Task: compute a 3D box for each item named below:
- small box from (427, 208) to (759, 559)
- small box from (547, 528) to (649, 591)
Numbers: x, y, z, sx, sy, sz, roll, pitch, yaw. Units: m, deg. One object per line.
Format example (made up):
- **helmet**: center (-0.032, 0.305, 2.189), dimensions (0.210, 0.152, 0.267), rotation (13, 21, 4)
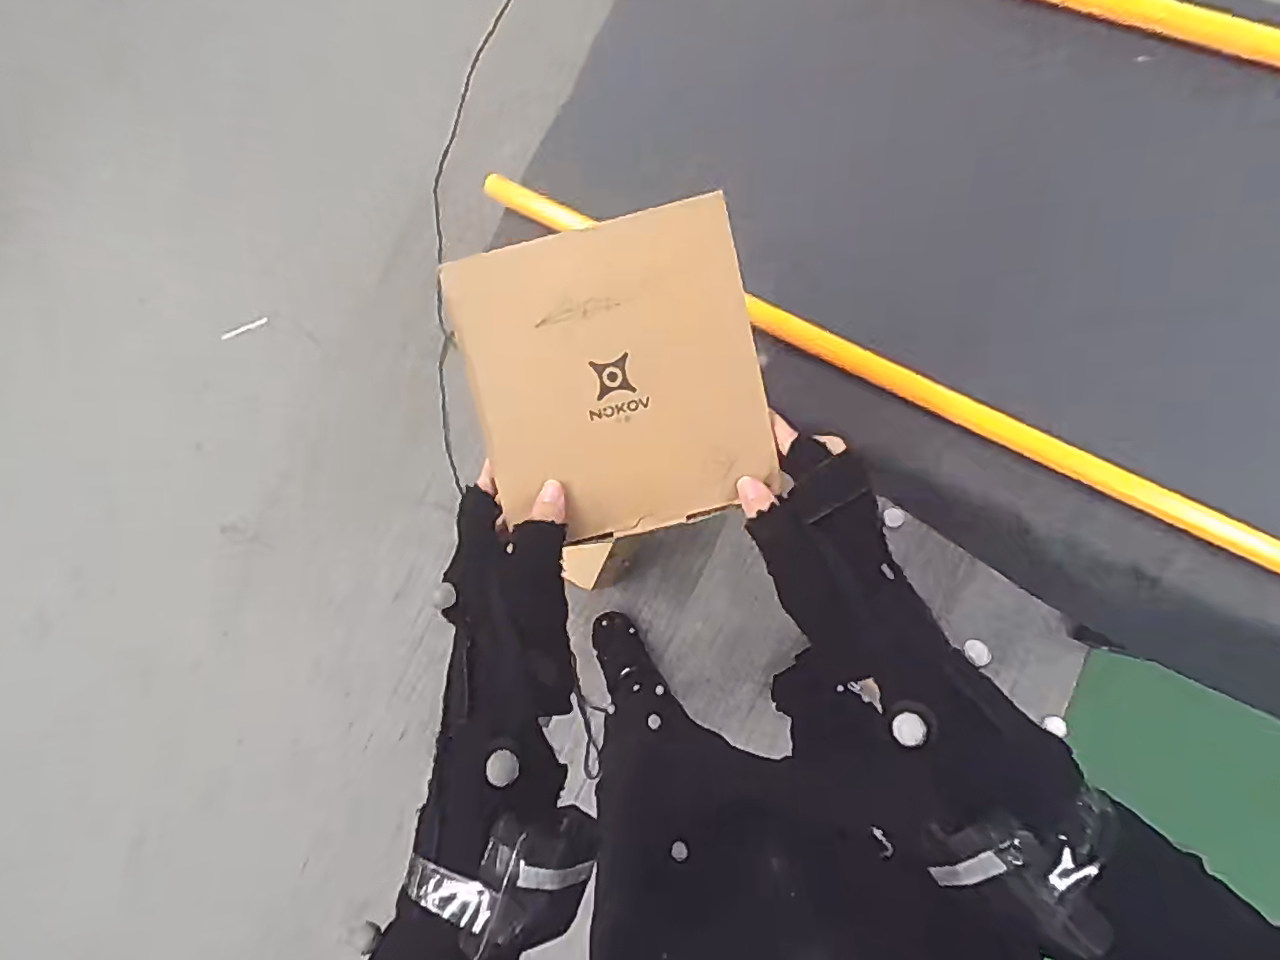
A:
- **small box**: center (-0.023, -0.062, 0.396), dimensions (0.168, 0.176, 0.179), rotation (-14, 95, 3)
- **small box**: center (-0.091, 0.129, 1.227), dimensions (0.168, 0.176, 0.179), rotation (34, 88, 10)
